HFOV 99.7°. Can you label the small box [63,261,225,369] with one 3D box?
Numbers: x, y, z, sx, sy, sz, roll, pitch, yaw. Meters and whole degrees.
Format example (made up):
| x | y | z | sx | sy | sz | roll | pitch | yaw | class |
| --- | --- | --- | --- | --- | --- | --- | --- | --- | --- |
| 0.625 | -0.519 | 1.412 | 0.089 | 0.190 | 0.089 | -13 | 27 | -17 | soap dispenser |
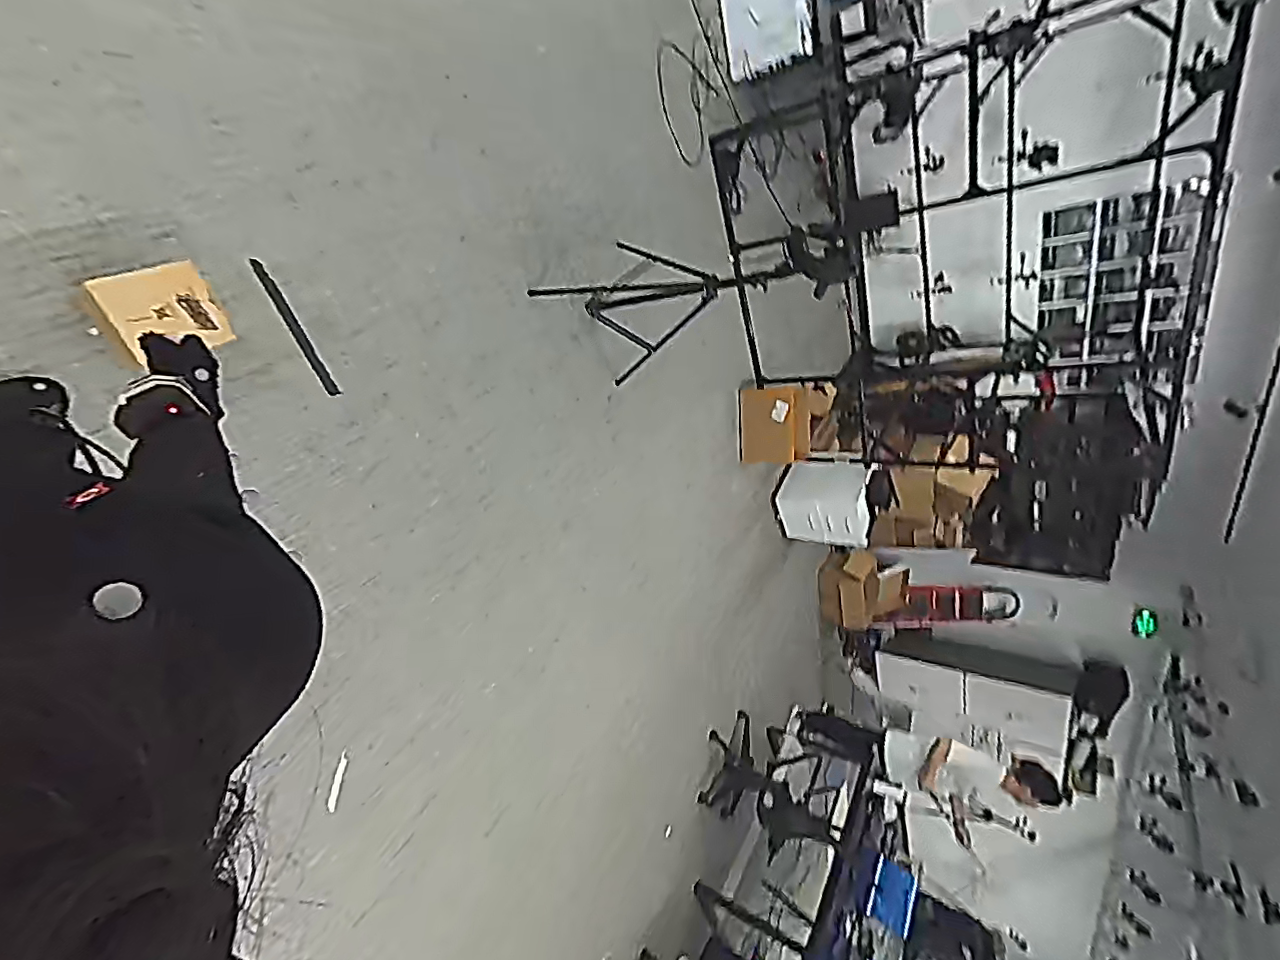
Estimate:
| x | y | z | sx | sy | sz | roll | pitch | yaw | class |
| --- | --- | --- | --- | --- | --- | --- | --- | --- | --- |
| -1.010 | -0.334 | 1.104 | 0.179 | 0.176 | 0.168 | -41 | 124 | -43 | small box |
